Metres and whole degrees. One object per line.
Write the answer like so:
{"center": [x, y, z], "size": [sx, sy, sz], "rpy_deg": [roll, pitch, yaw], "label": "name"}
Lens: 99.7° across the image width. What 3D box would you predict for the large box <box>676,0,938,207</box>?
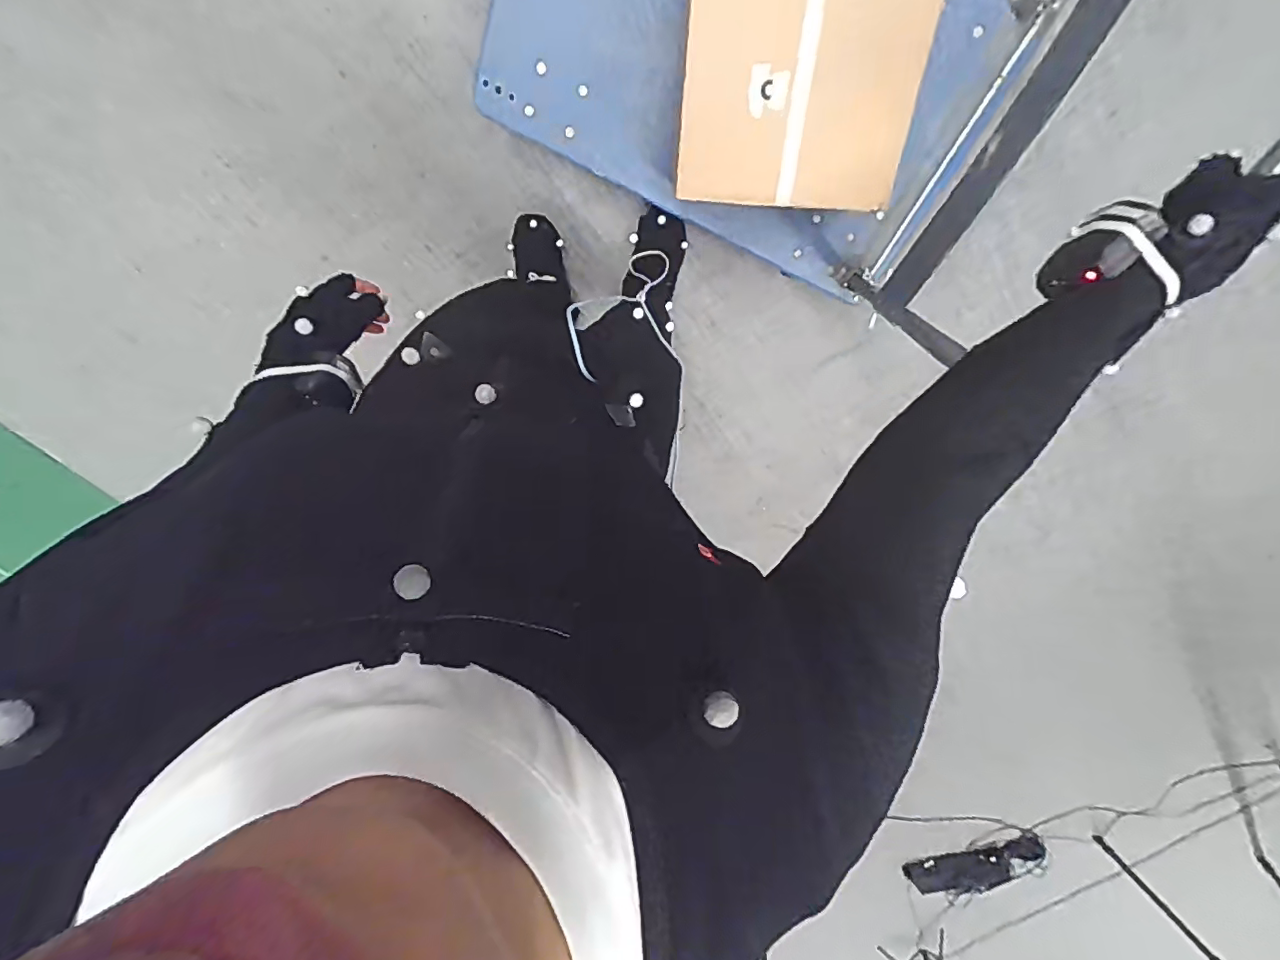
{"center": [0.224, -0.661, 0.821], "size": [0.320, 0.320, 0.408], "rpy_deg": [4, 123, 1], "label": "large box"}
